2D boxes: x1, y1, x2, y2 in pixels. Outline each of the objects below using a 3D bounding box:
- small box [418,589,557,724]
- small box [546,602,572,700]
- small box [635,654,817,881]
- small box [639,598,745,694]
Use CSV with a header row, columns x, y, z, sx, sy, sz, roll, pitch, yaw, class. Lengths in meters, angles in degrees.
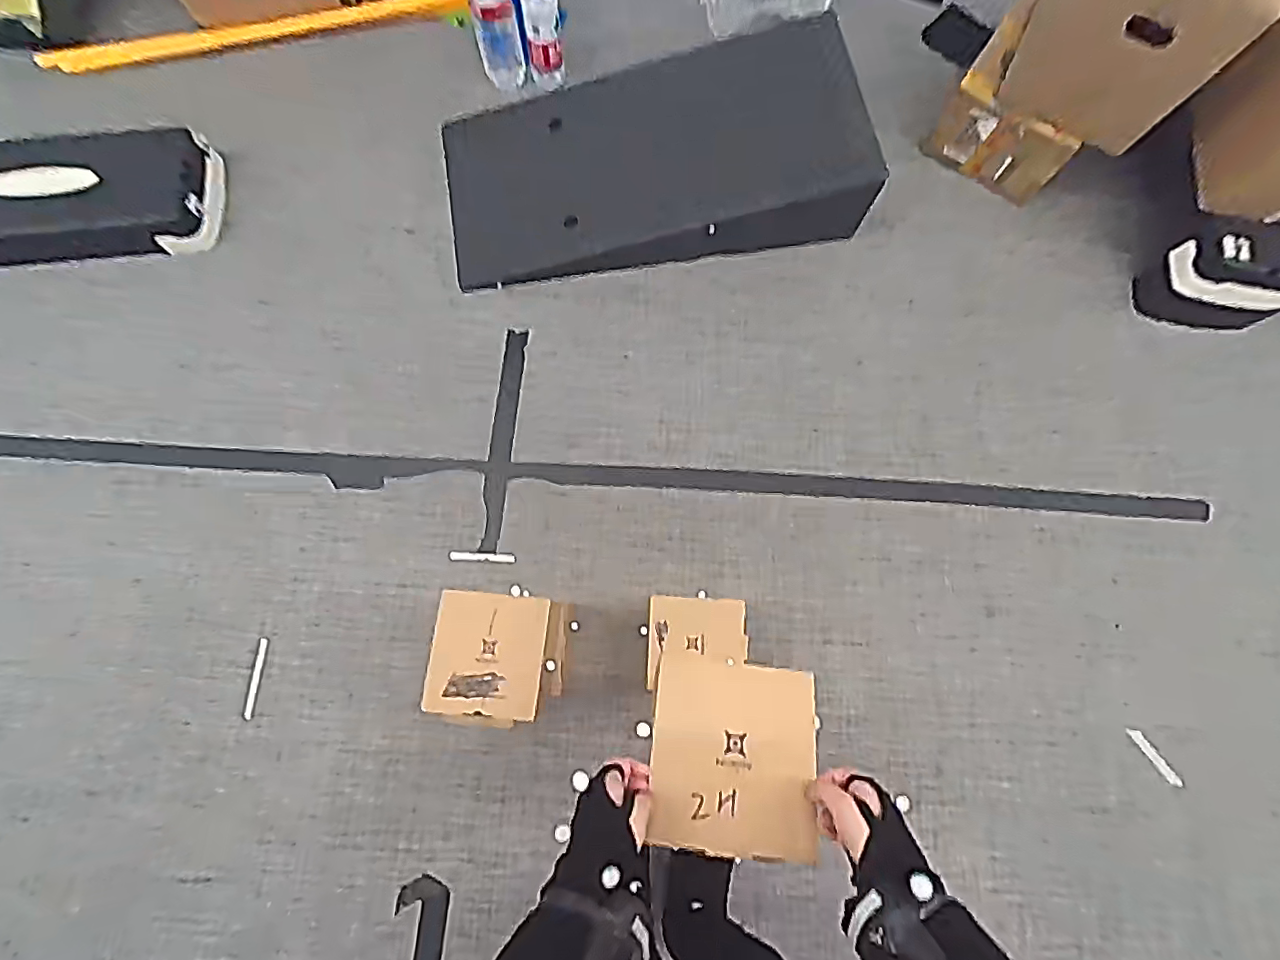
x,y,z,sx,sy,sz,roll,pitch,yaw,class
-0.229,0.275,0.863,0.168,0.176,0.179,6,74,-1,small box
-0.226,0.313,1.023,0.179,0.176,0.168,3,76,-1,small box
0.086,0.305,0.595,0.168,0.176,0.179,8,64,3,small box
0.094,0.316,1.033,0.179,0.176,0.168,4,76,-2,small box
